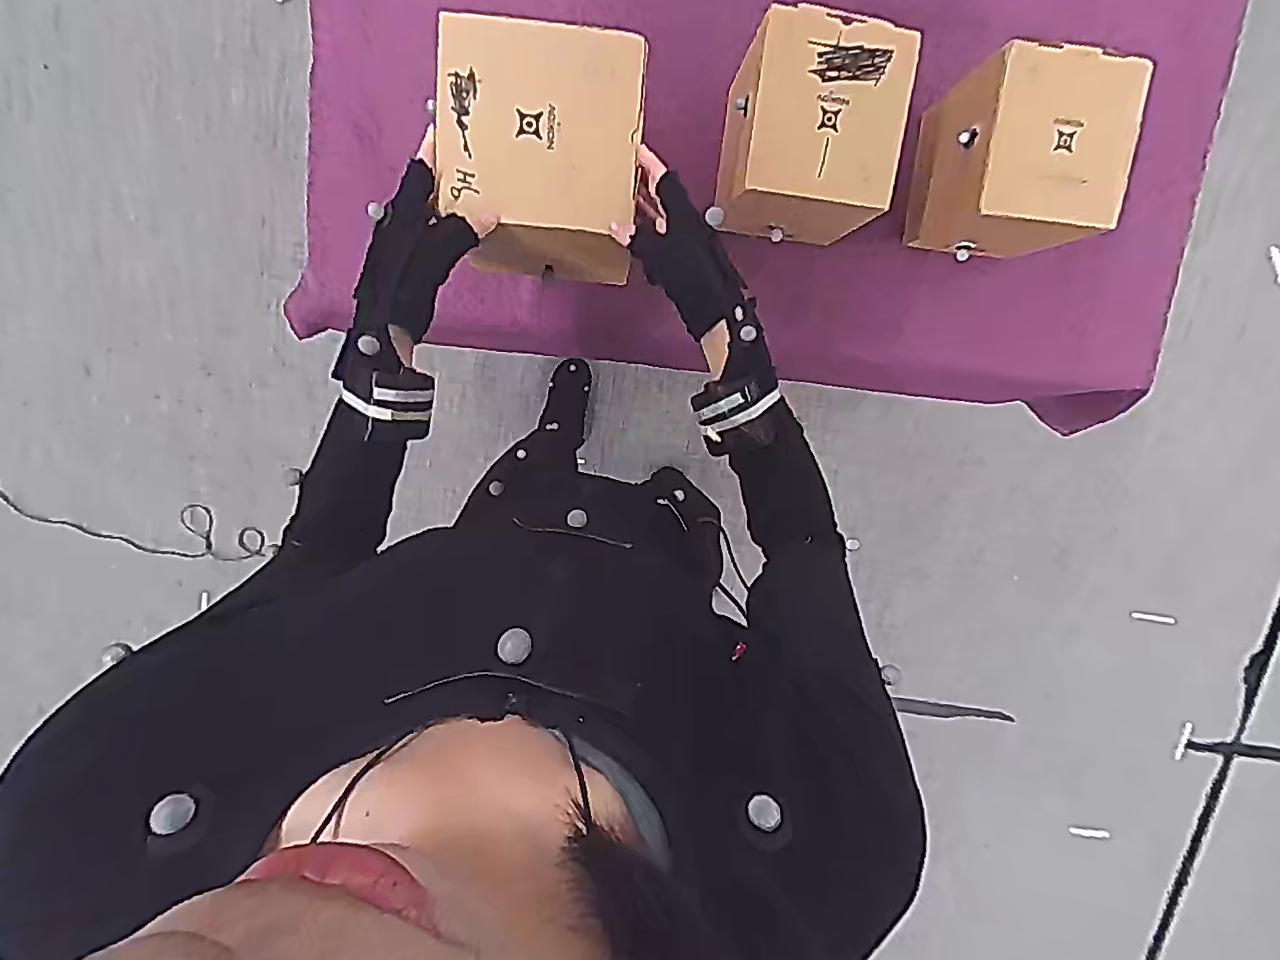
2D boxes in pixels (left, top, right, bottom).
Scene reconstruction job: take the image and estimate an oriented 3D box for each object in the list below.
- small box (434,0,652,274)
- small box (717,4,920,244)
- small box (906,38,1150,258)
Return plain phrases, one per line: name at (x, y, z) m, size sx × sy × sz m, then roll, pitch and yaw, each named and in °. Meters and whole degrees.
small box at (-0.090, -0.315, 0.537) m, size 0.179 × 0.176 × 0.168 m, roll 4°, pitch 95°, yaw -5°
small box at (0.196, -0.404, 0.647) m, size 0.168 × 0.176 × 0.179 m, roll 6°, pitch 100°, yaw -5°
small box at (0.461, -0.393, 0.672) m, size 0.168 × 0.176 × 0.179 m, roll 4°, pitch 101°, yaw -4°
